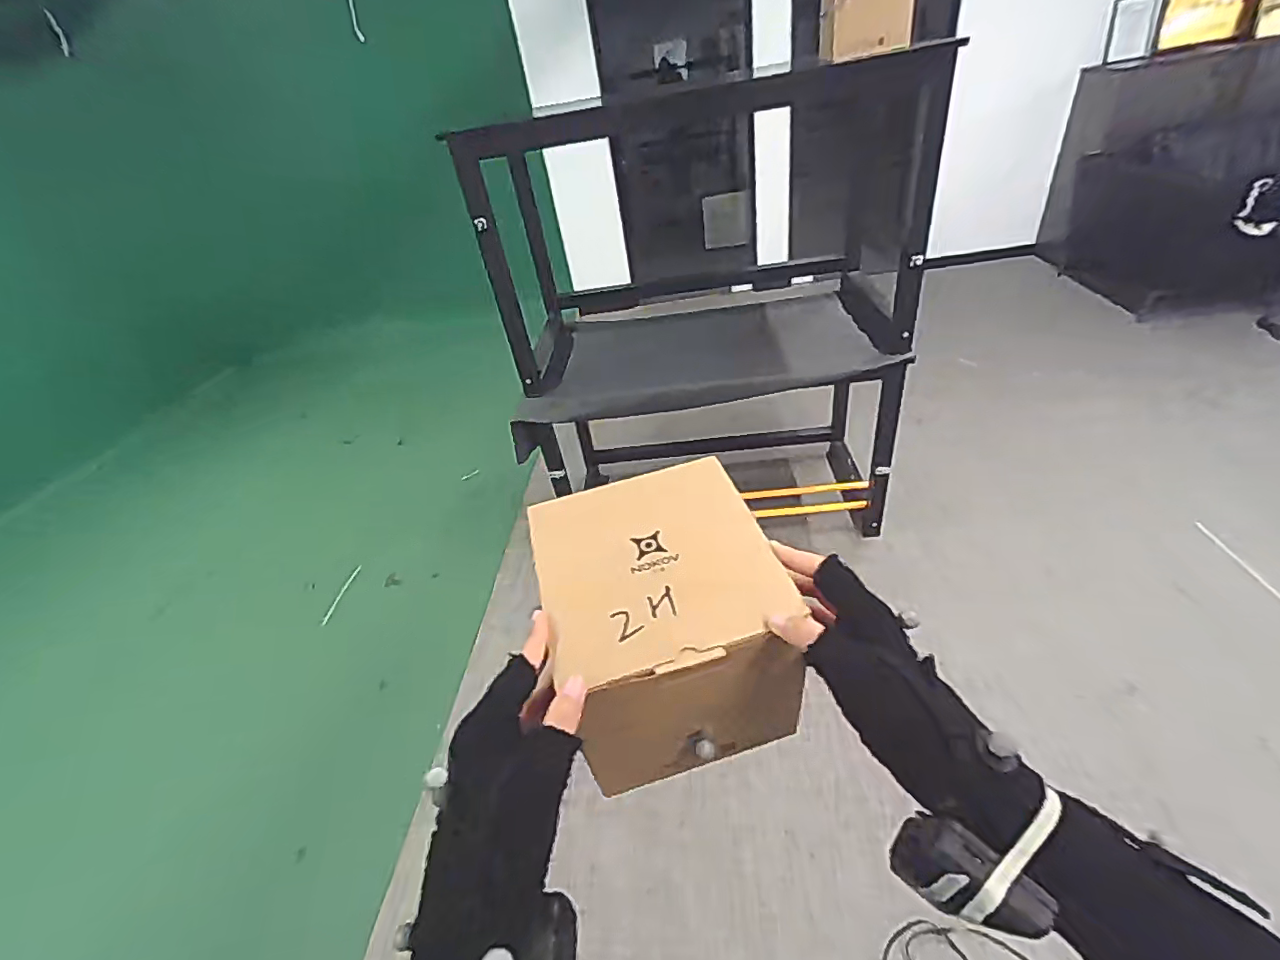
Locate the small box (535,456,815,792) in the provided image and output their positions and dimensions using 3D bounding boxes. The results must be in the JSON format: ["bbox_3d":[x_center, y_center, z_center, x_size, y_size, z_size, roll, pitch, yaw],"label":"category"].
[{"bbox_3d":[0.021,0.111,0.437,0.168,0.176,0.179,-15,40,-5],"label":"small box"}]
